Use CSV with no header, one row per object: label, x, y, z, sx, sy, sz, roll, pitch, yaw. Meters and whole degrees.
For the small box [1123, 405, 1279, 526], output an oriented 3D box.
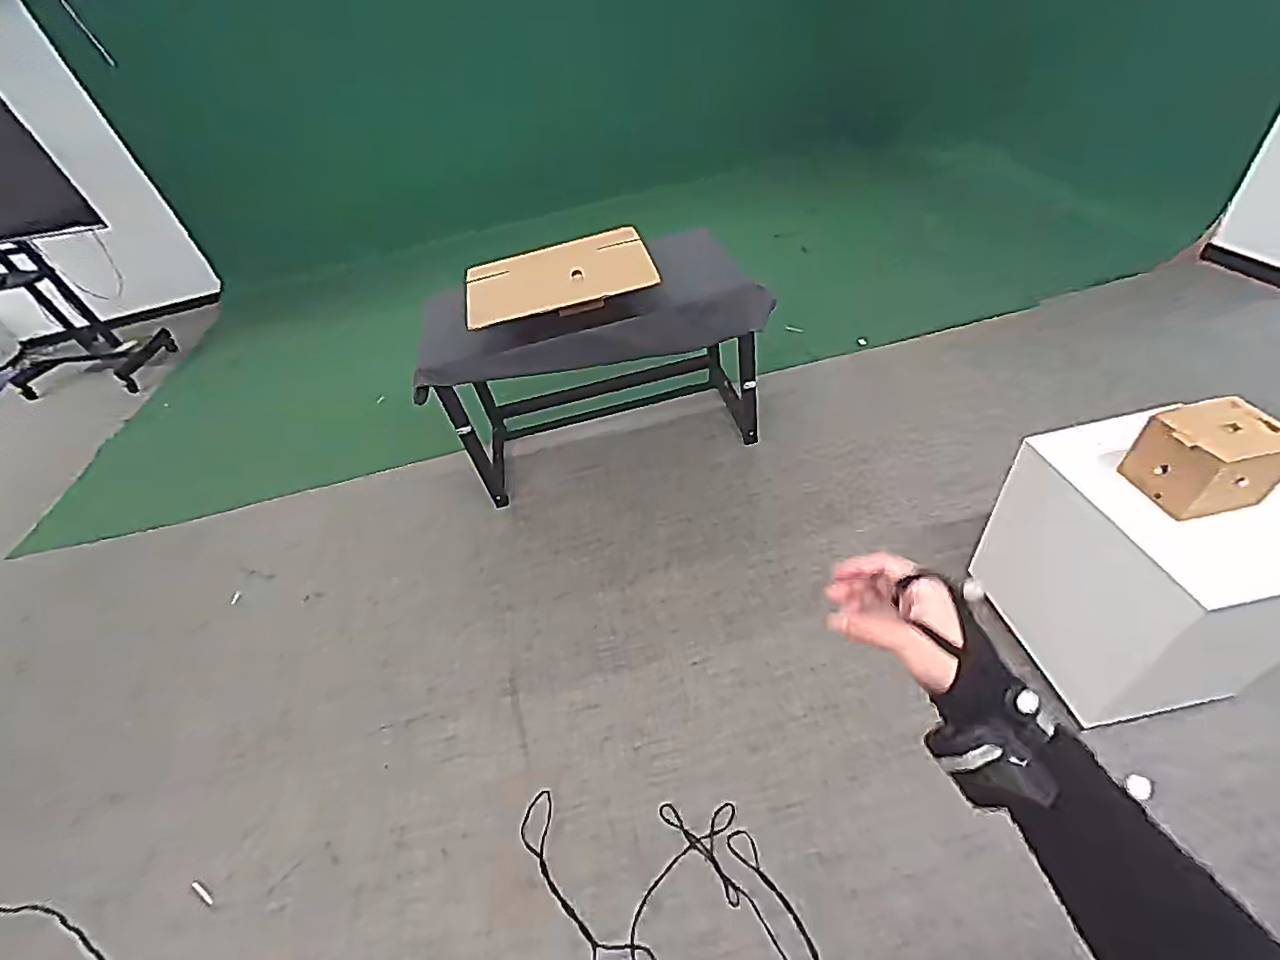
small box,1.163,-0.026,1.121,0.179,0.176,0.168,-13,43,-2
